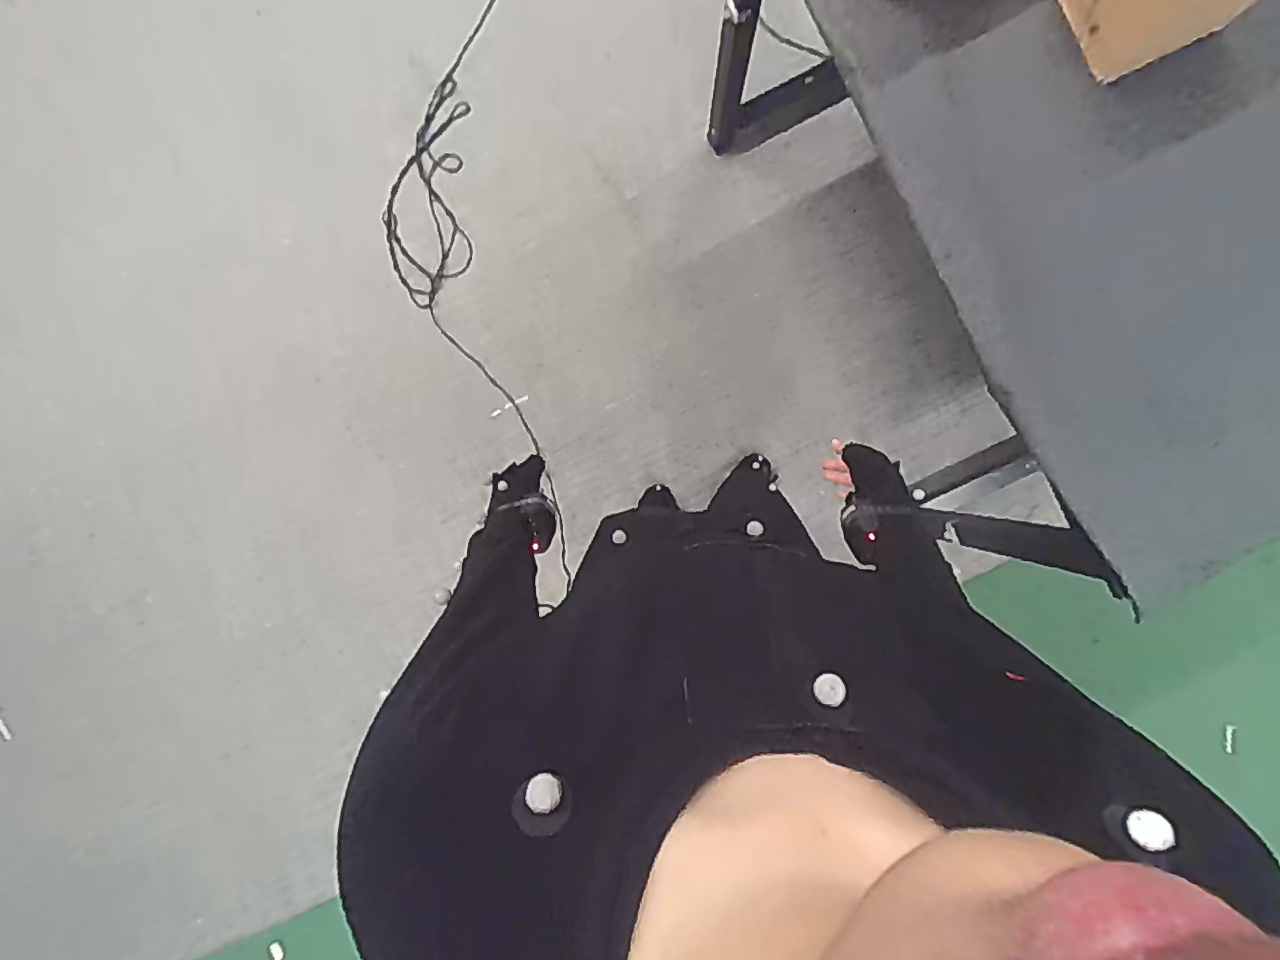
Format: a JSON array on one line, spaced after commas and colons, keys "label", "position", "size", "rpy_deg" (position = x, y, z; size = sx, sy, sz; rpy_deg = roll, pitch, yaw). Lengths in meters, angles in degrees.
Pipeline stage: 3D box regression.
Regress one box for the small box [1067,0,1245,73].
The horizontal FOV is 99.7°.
[{"label": "small box", "position": [0.647, -0.635, 0.626], "size": [0.179, 0.176, 0.168], "rpy_deg": [-25, 91, 3]}]
